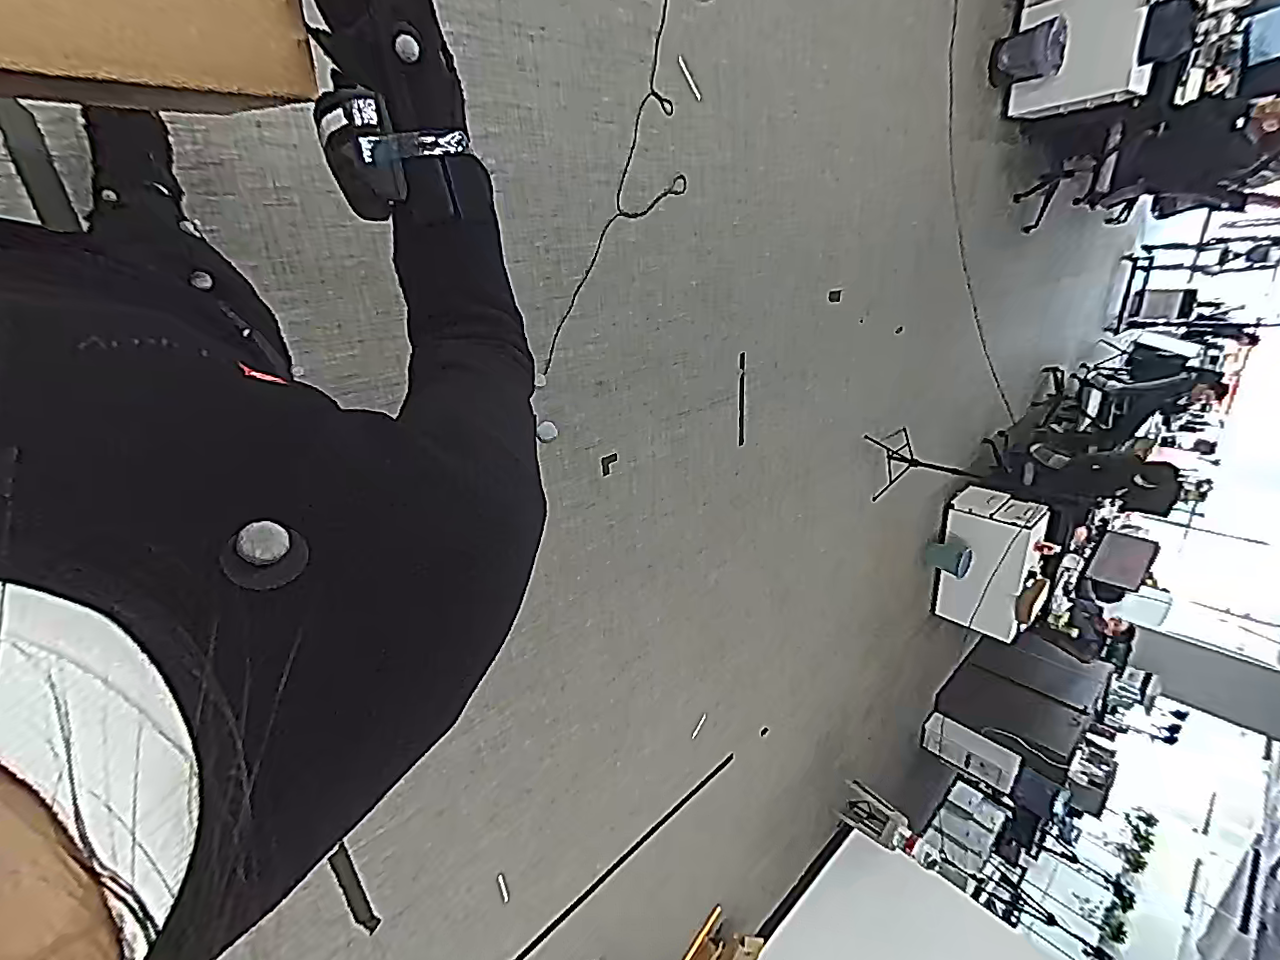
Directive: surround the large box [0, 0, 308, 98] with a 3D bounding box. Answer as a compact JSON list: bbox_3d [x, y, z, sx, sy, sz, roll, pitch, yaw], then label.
[{"bbox_3d":[-0.446,-0.376,0.236,0.408,0.320,0.320,-23,130,-37],"label":"large box"}]
